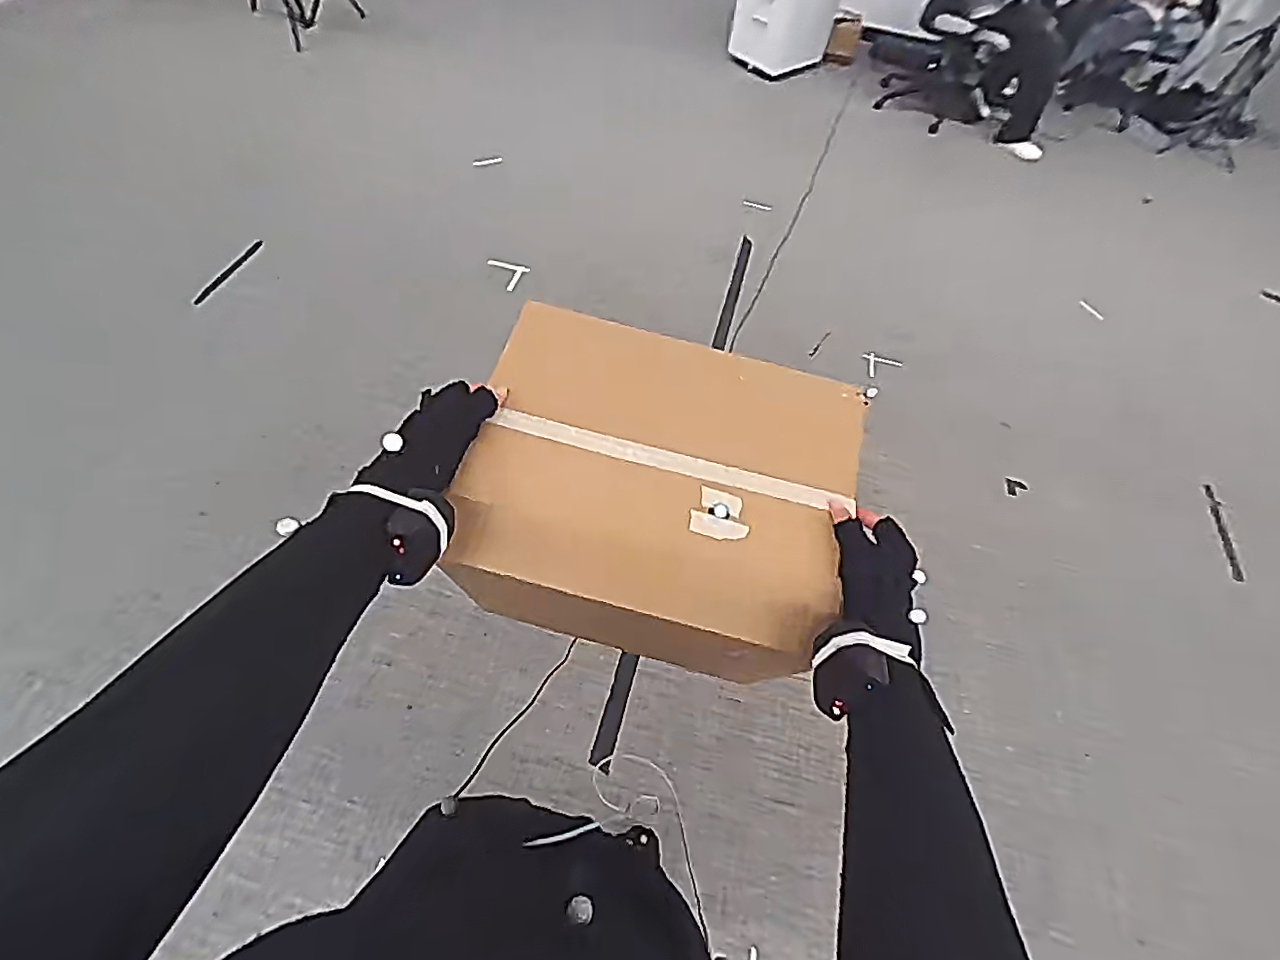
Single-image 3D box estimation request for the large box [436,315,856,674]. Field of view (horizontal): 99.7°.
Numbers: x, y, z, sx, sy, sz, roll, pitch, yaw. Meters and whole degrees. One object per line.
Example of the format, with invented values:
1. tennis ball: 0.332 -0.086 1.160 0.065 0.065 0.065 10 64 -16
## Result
1. large box: 0.013 0.043 0.711 0.408 0.320 0.320 15 67 1
